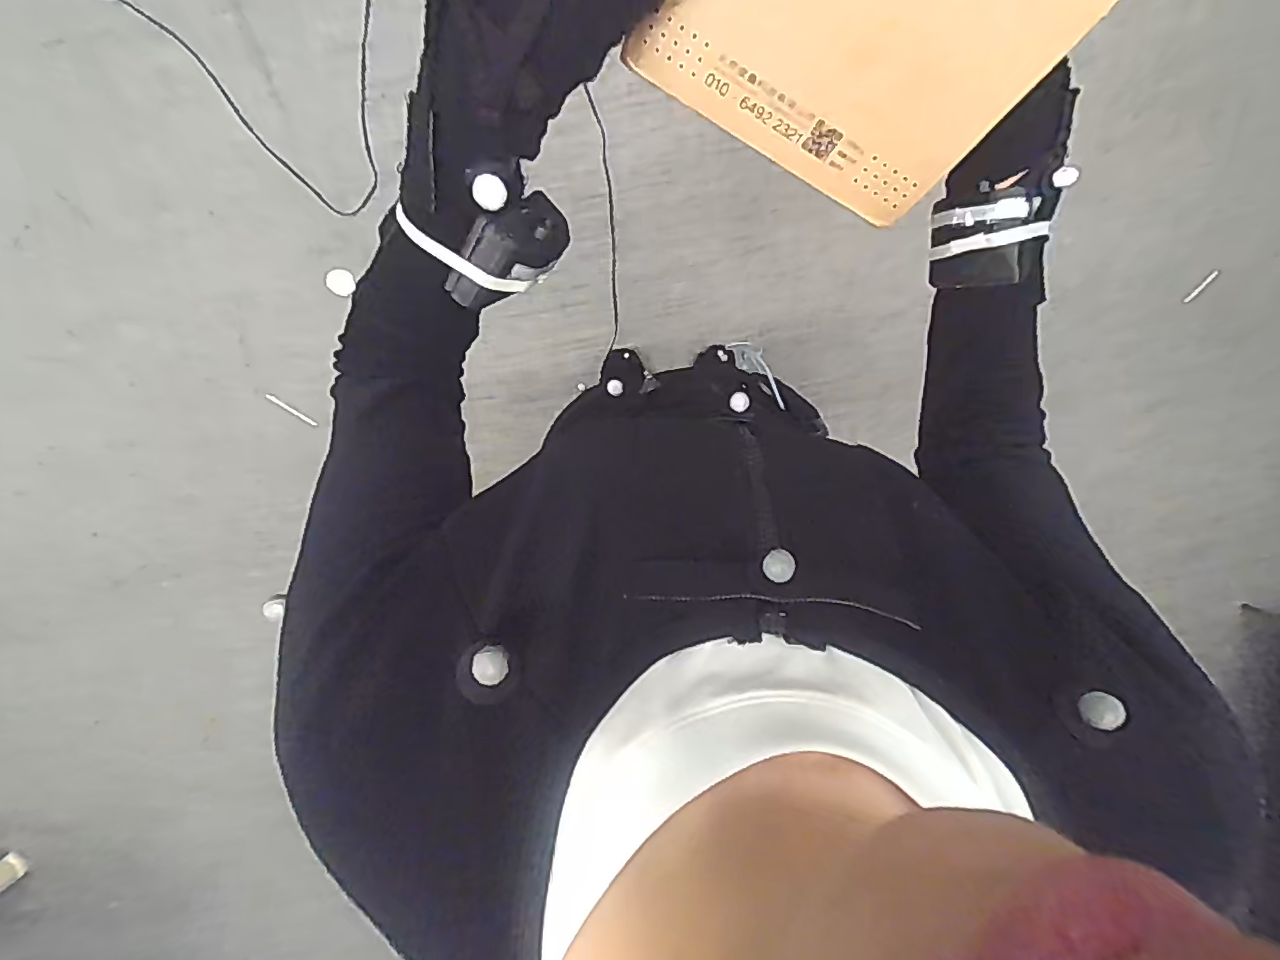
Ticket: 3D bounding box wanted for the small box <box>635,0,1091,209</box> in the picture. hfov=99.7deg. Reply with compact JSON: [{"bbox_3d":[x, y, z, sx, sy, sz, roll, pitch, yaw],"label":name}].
[{"bbox_3d":[0.114,-0.278,0.257,0.168,0.176,0.179,24,58,-13],"label":"small box"}]
